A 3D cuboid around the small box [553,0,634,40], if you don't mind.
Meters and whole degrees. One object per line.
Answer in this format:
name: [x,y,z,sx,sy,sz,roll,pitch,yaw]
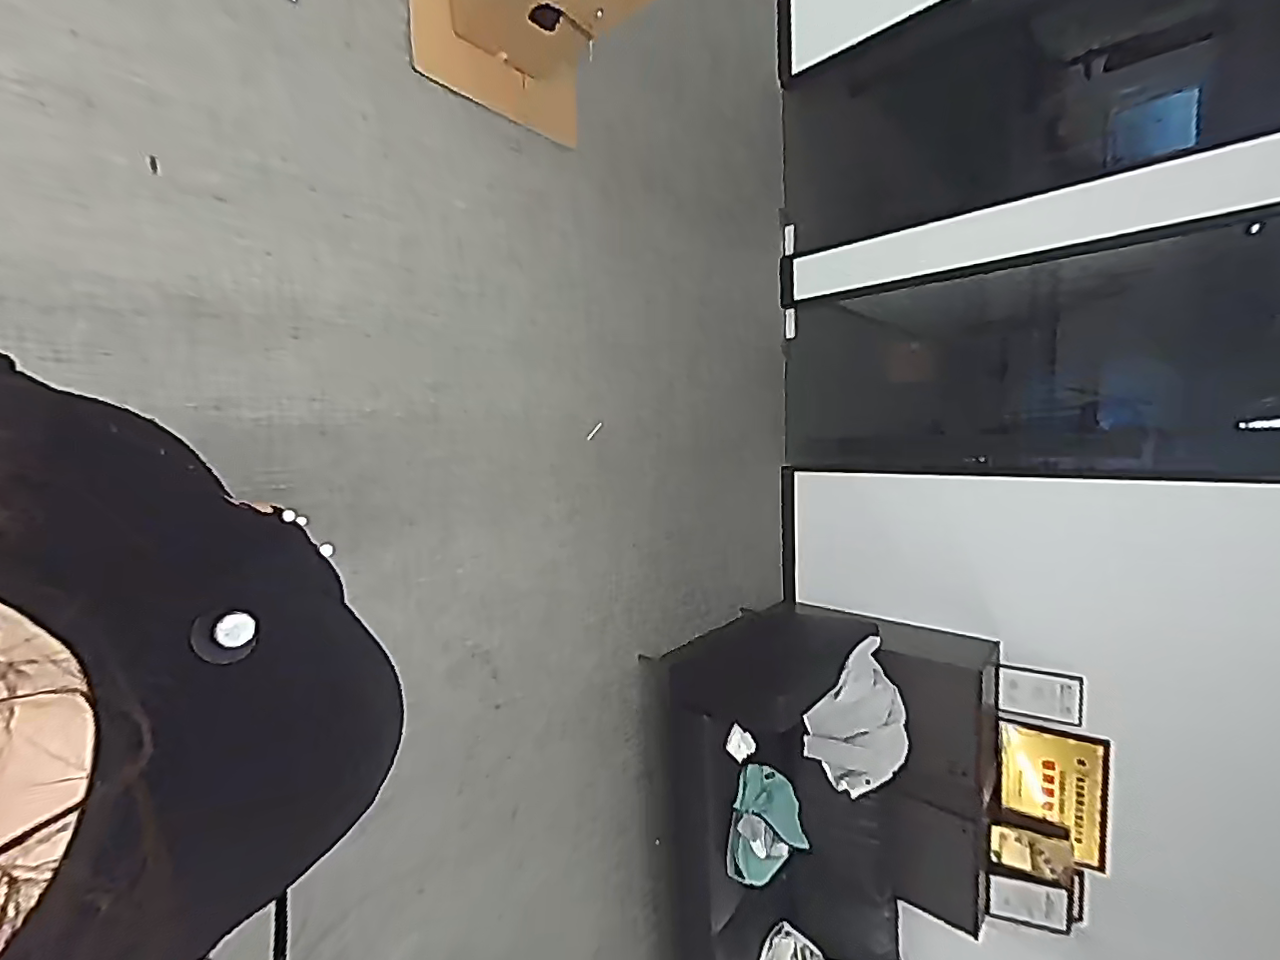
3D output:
small box: [-0.133,-1.385,1.496,0.168,0.176,0.179,-2,91,-48]
